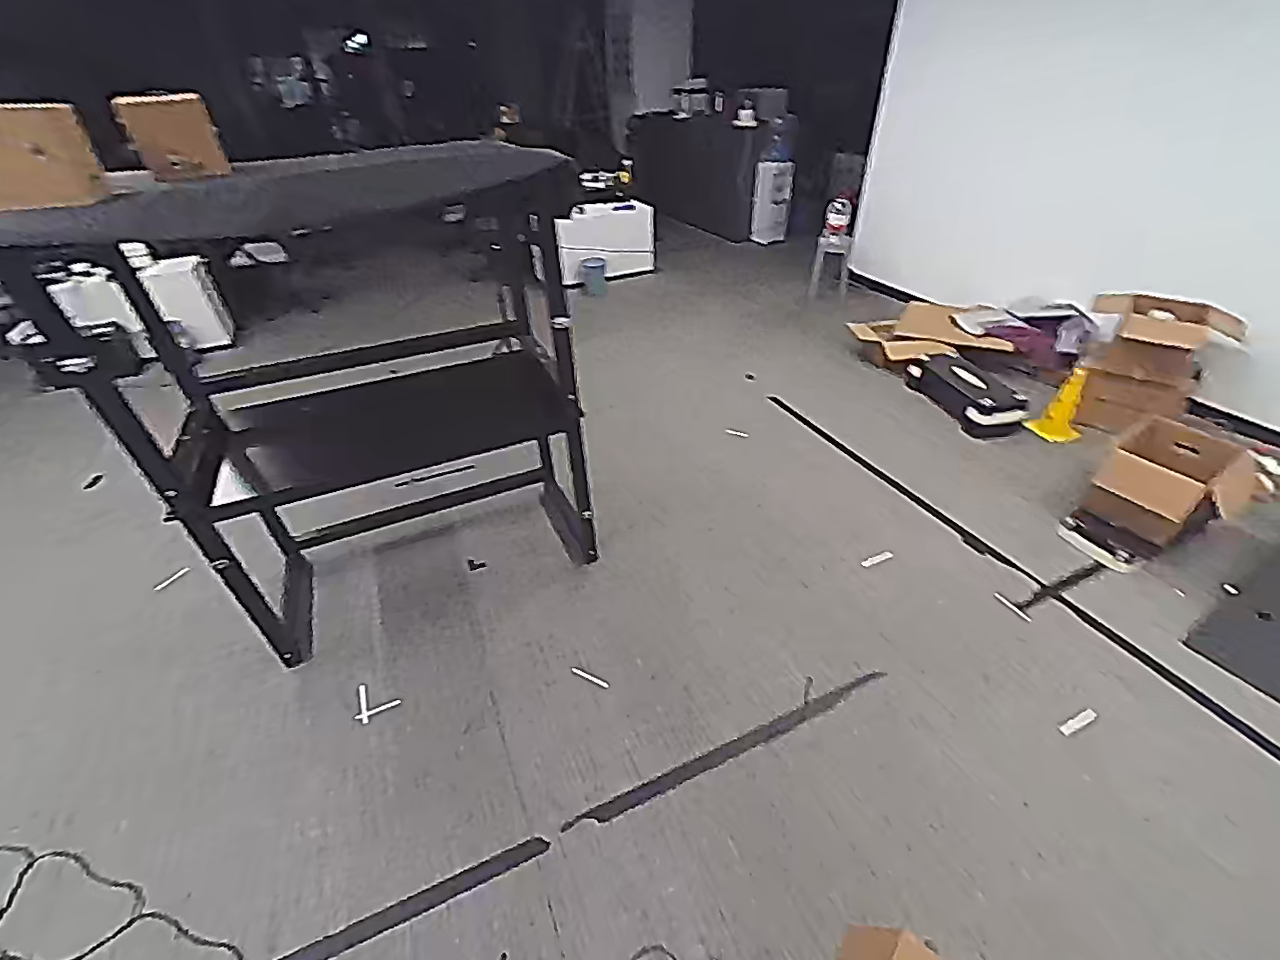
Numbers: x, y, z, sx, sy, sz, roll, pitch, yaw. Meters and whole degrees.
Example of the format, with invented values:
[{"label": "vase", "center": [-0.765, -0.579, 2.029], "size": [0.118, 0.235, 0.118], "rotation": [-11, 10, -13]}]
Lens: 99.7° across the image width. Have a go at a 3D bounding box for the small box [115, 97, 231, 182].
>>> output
[{"label": "small box", "center": [-1.179, -0.869, 1.380], "size": [0.168, 0.176, 0.179], "rotation": [-23, 42, -23]}]
